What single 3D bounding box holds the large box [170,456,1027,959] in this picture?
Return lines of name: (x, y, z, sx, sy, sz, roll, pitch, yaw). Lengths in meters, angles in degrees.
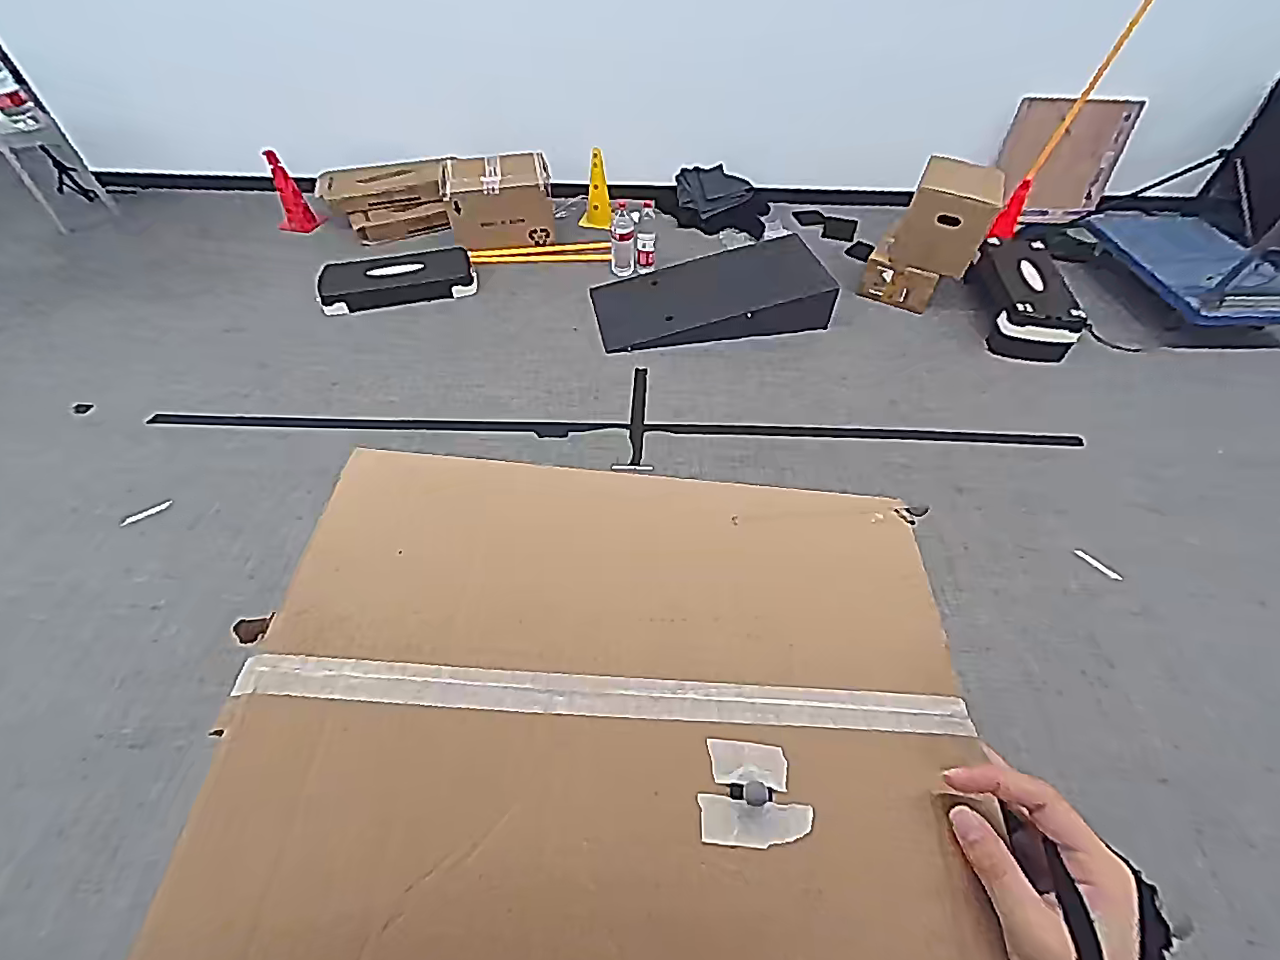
large box: (-0.021, 0.209, 0.439, 0.408, 0.320, 0.320, 6, 55, -5)
